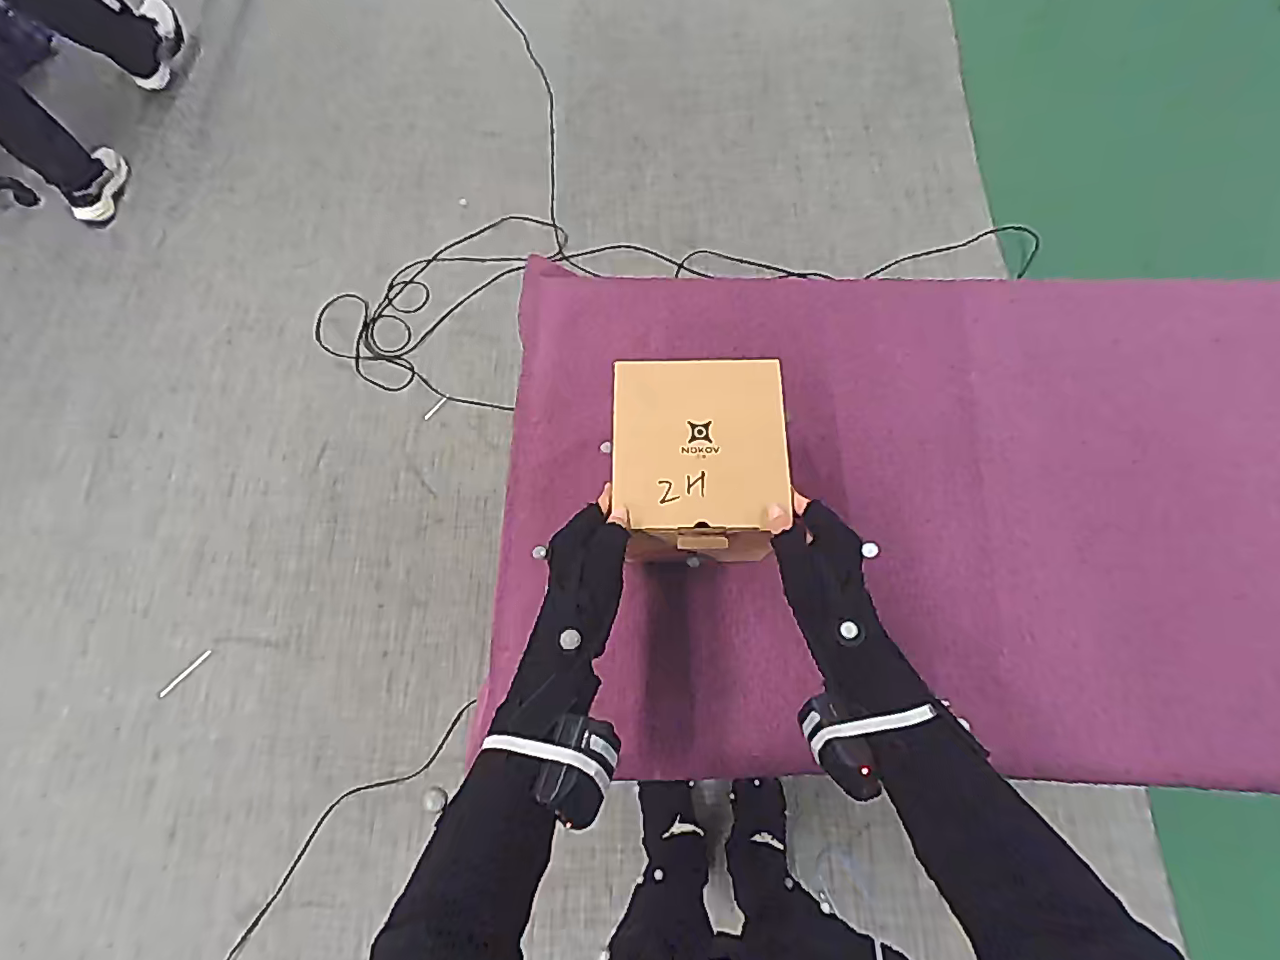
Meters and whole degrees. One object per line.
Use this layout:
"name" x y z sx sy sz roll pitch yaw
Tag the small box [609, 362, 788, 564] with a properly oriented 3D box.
"small box" 0.057 -0.011 0.592 0.168 0.176 0.179 0 72 3
